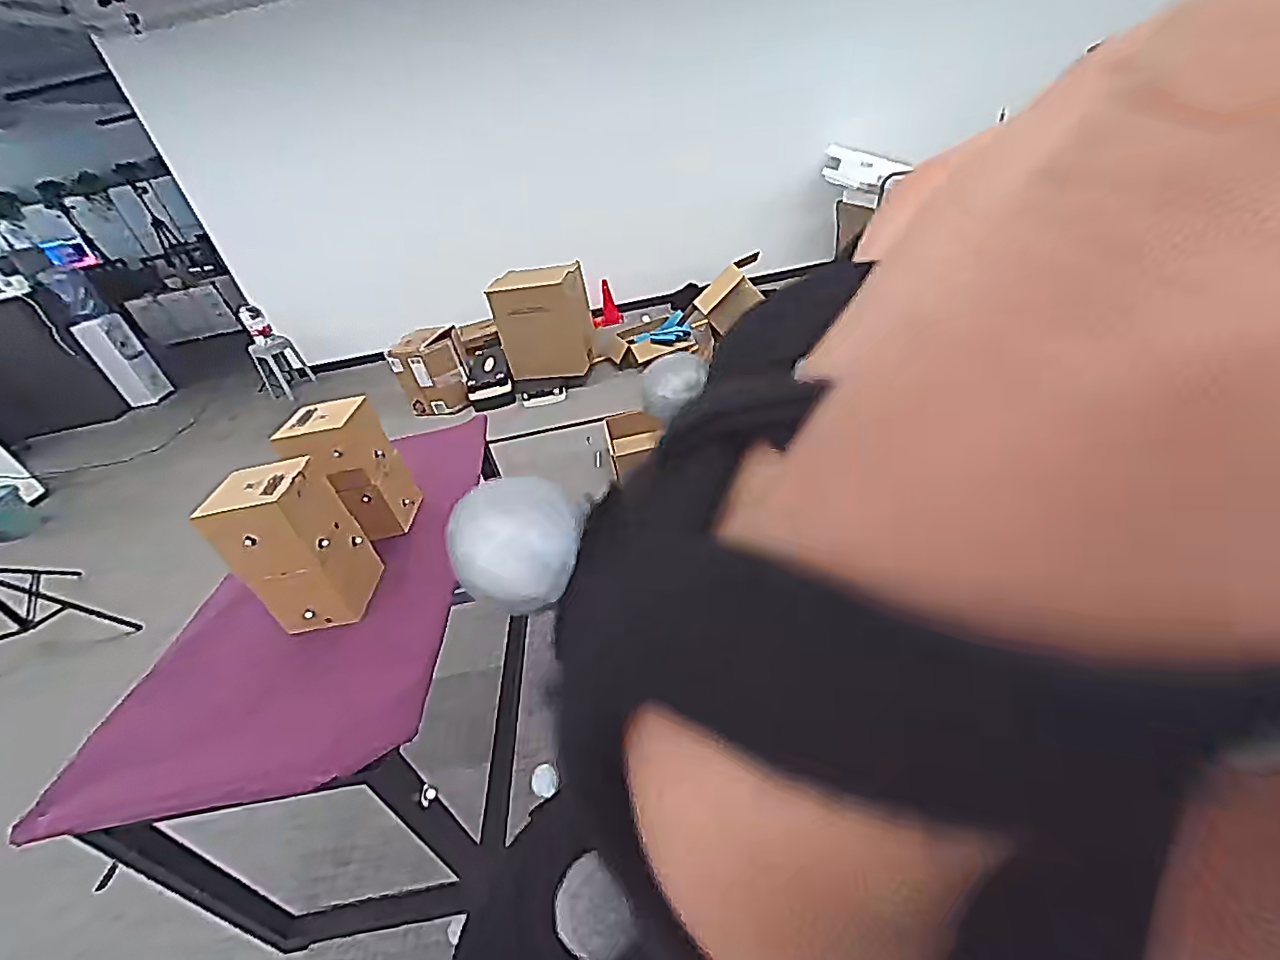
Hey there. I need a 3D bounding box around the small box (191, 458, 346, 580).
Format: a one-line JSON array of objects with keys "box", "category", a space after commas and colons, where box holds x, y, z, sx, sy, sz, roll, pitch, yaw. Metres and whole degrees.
[{"box": [-0.747, 0.081, 1.116, 0.179, 0.176, 0.168, -12, 34, 2], "category": "small box"}]

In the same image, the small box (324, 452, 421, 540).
[{"box": [-0.717, 0.050, 1.440, 0.179, 0.176, 0.168, -11, 35, 3], "category": "small box"}]

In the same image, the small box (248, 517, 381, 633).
[{"box": [-0.710, 0.212, 1.209, 0.168, 0.176, 0.179, -11, 35, 3], "category": "small box"}]
